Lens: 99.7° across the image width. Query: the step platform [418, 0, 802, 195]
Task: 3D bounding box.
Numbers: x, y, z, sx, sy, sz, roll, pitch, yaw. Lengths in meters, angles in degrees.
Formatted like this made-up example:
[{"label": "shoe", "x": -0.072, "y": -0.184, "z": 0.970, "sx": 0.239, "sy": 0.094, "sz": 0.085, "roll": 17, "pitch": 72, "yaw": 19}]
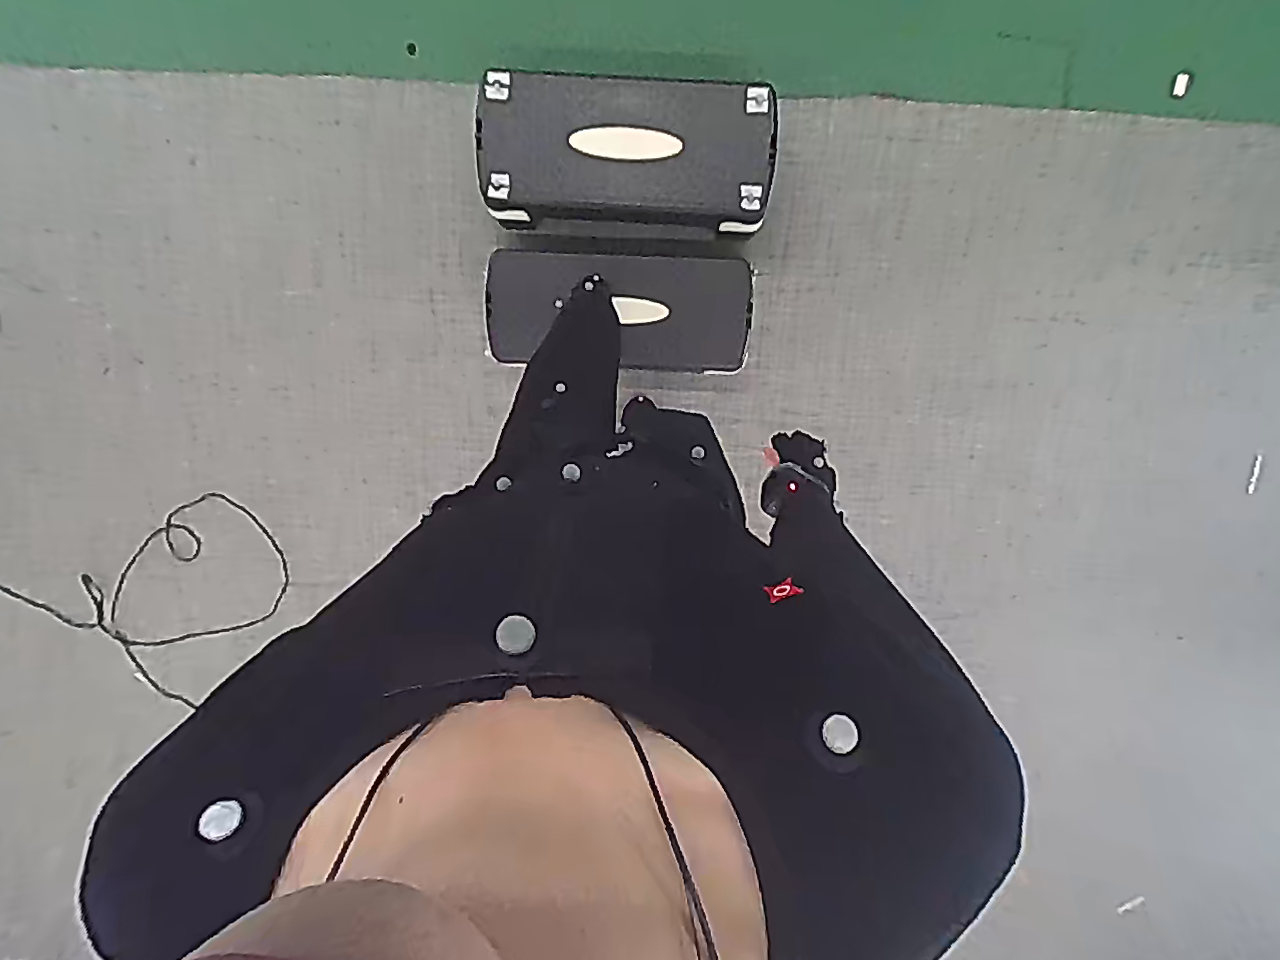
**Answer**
[{"label": "step platform", "x": -0.054, "y": -0.738, "z": 1.053, "sx": 0.684, "sy": 0.204, "sz": 0.286, "roll": 2, "pitch": 101, "yaw": 0}]
